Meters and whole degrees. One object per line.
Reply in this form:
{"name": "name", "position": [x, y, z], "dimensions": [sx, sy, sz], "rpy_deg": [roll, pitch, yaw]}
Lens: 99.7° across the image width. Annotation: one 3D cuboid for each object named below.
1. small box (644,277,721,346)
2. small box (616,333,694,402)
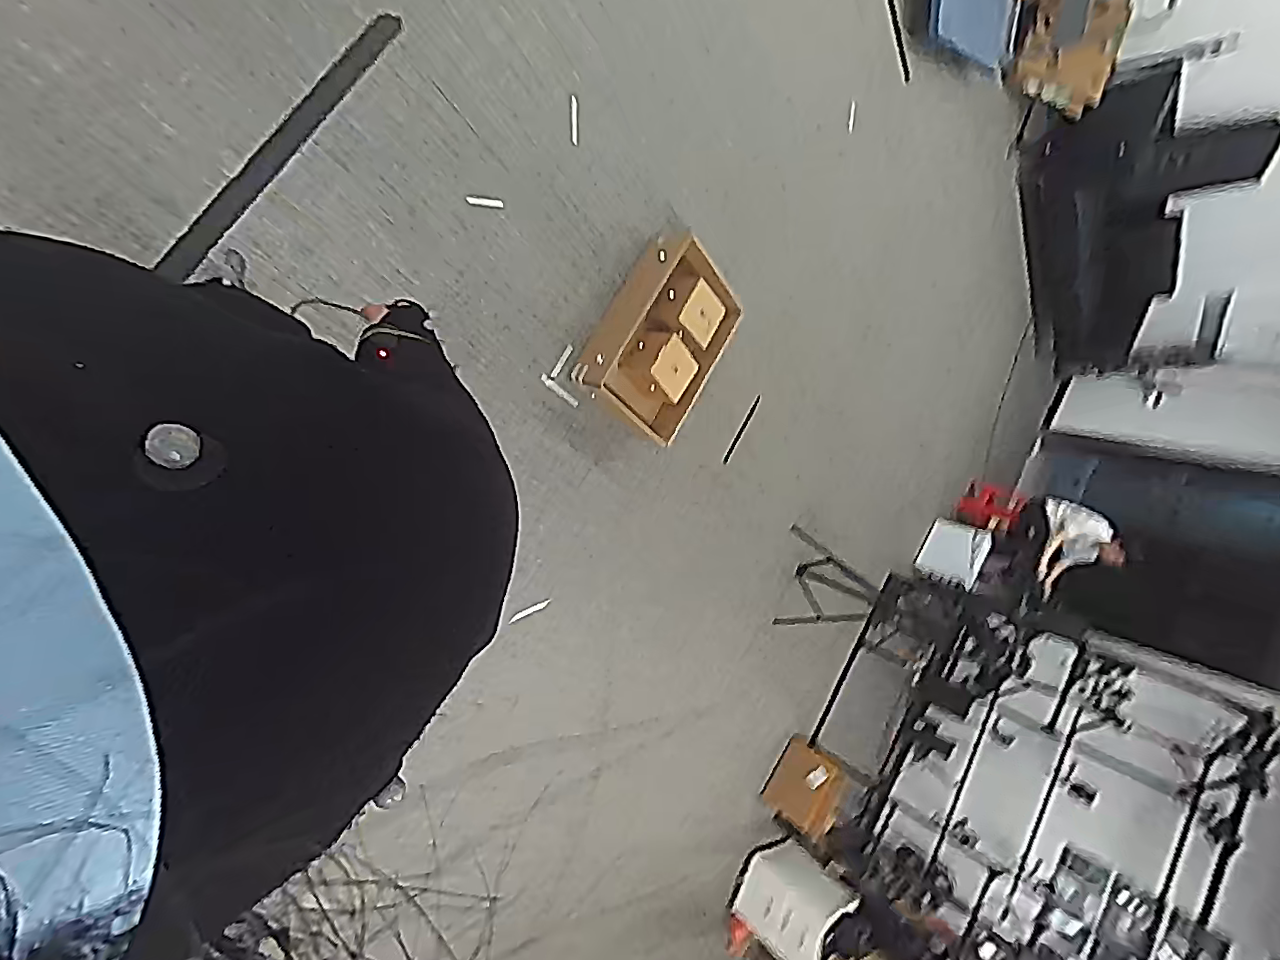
{"name": "small box", "position": [0.147, -0.593, 1.911], "dimensions": [0.179, 0.176, 0.168], "rpy_deg": [36, 80, -44]}
{"name": "small box", "position": [0.050, -0.399, 1.891], "dimensions": [0.168, 0.176, 0.179], "rpy_deg": [-57, 133, -14]}
